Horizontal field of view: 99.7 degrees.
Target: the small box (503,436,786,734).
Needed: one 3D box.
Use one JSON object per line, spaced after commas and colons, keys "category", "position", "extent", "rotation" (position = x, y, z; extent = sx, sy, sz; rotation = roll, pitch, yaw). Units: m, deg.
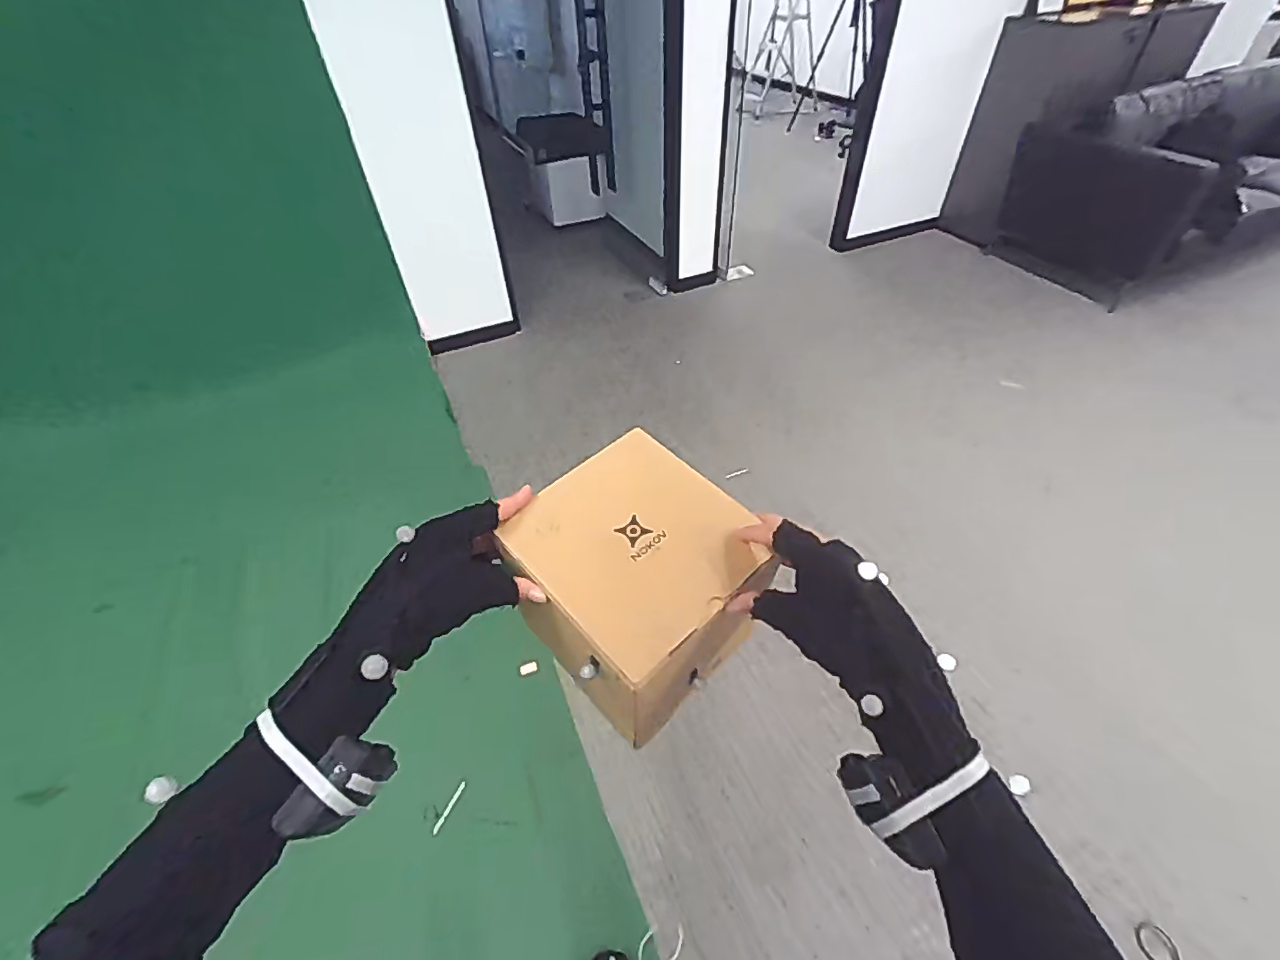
{"category": "small box", "position": [0.001, 0.098, 0.500], "extent": [0.168, 0.176, 0.179], "rotation": [-36, 60, -26]}
